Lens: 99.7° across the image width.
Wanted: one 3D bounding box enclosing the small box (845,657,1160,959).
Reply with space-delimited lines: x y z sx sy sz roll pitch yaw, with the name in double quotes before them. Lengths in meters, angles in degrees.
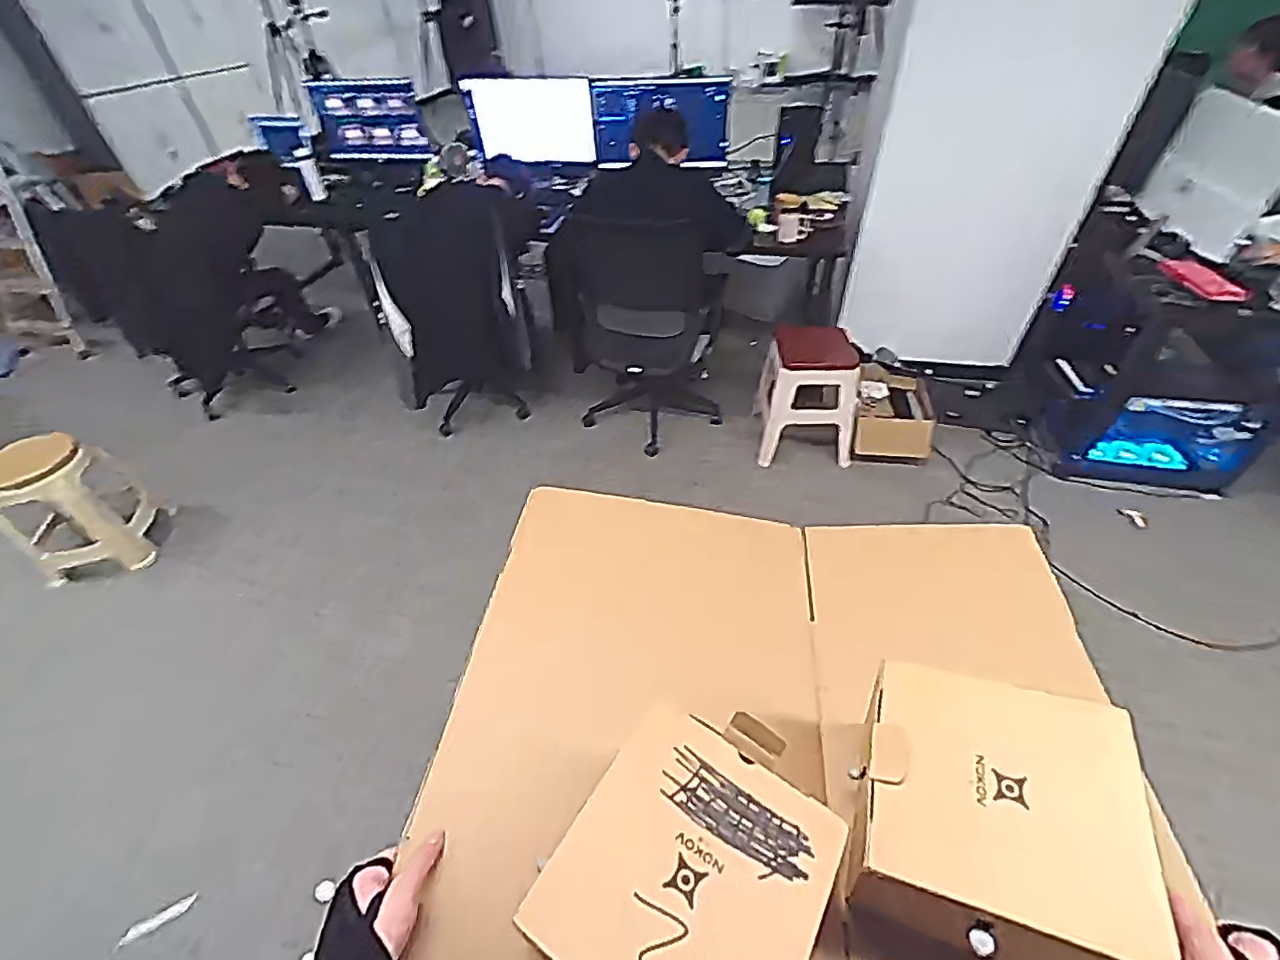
"small box" 0.283 0.283 0.467 0.179 0.176 0.168 7 49 22
